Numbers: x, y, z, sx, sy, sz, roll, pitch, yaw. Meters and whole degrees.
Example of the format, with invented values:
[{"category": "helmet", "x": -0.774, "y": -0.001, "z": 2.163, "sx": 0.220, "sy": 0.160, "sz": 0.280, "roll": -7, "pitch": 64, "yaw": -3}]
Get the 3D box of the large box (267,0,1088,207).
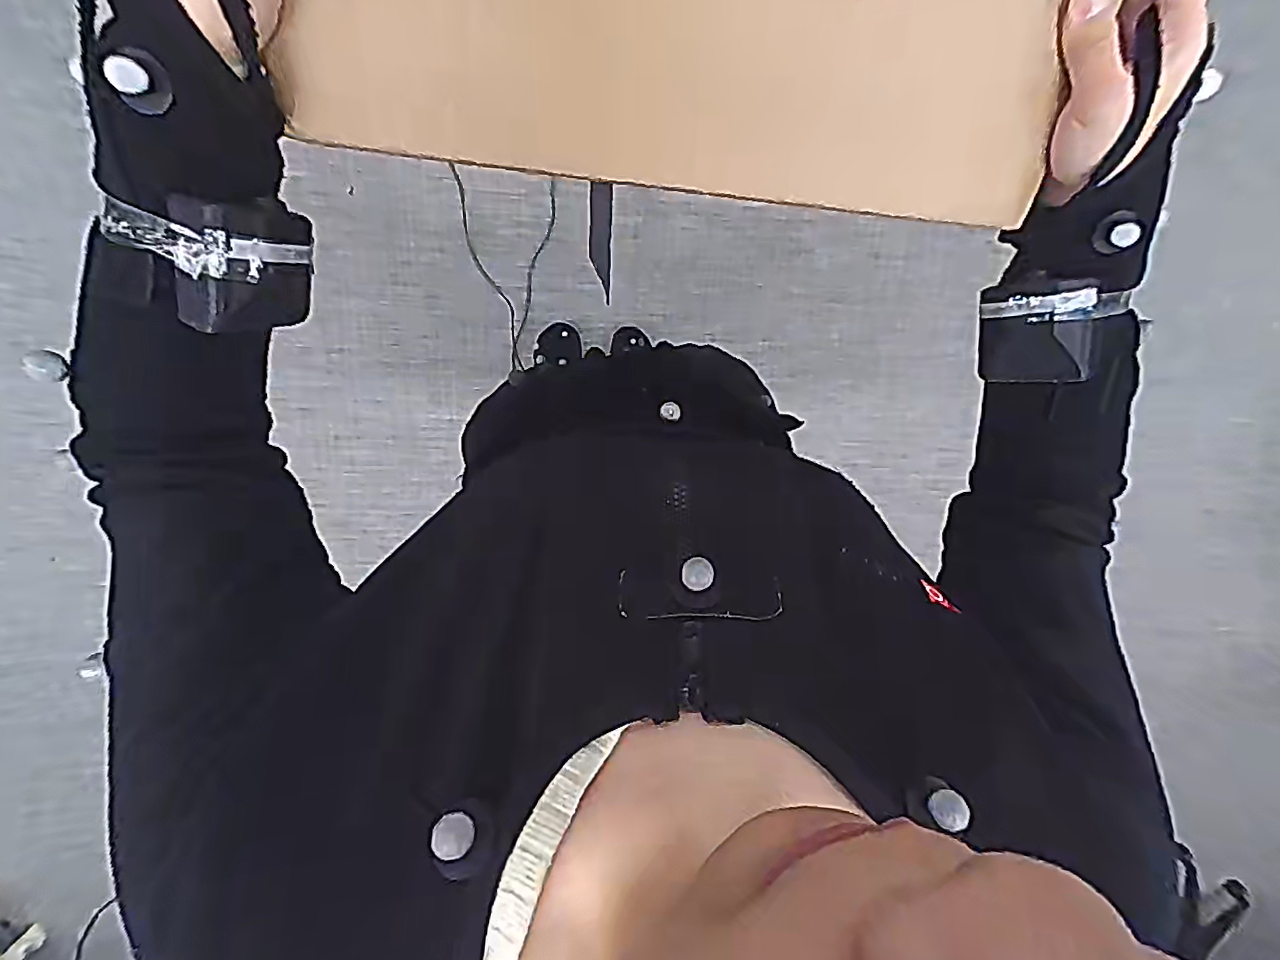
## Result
[{"category": "large box", "x": 0.020, "y": -0.377, "z": 0.344, "sx": 0.408, "sy": 0.320, "sz": 0.320, "roll": 2, "pitch": 122, "yaw": -9}]
